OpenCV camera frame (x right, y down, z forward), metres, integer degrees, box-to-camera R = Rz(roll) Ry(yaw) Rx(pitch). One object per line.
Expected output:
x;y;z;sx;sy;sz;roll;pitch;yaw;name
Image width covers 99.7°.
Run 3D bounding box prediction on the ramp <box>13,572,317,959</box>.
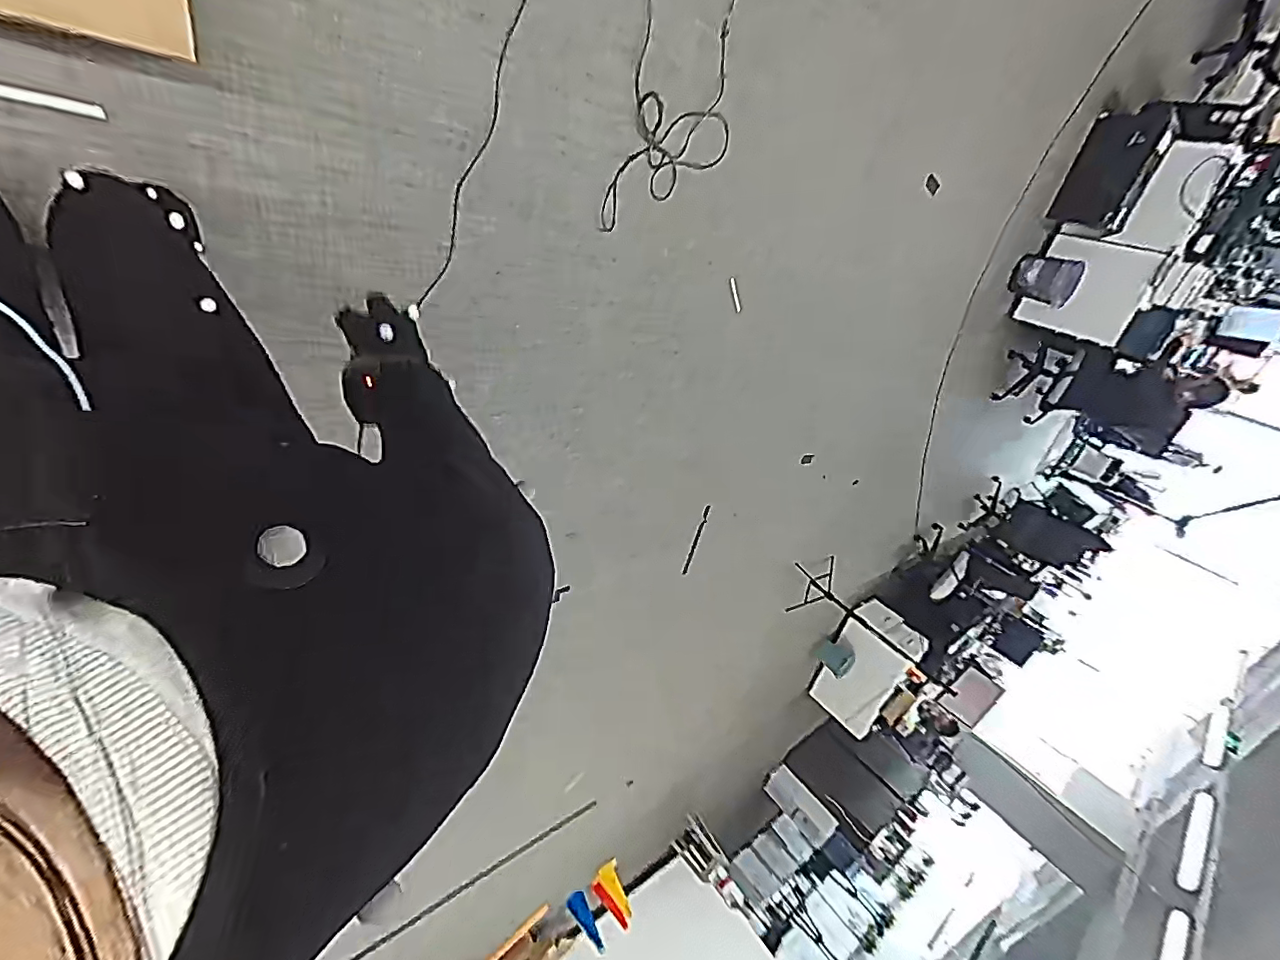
-1.126;0.723;1.373;0.509;0.206;0.991;-9;125;-38;ramp
